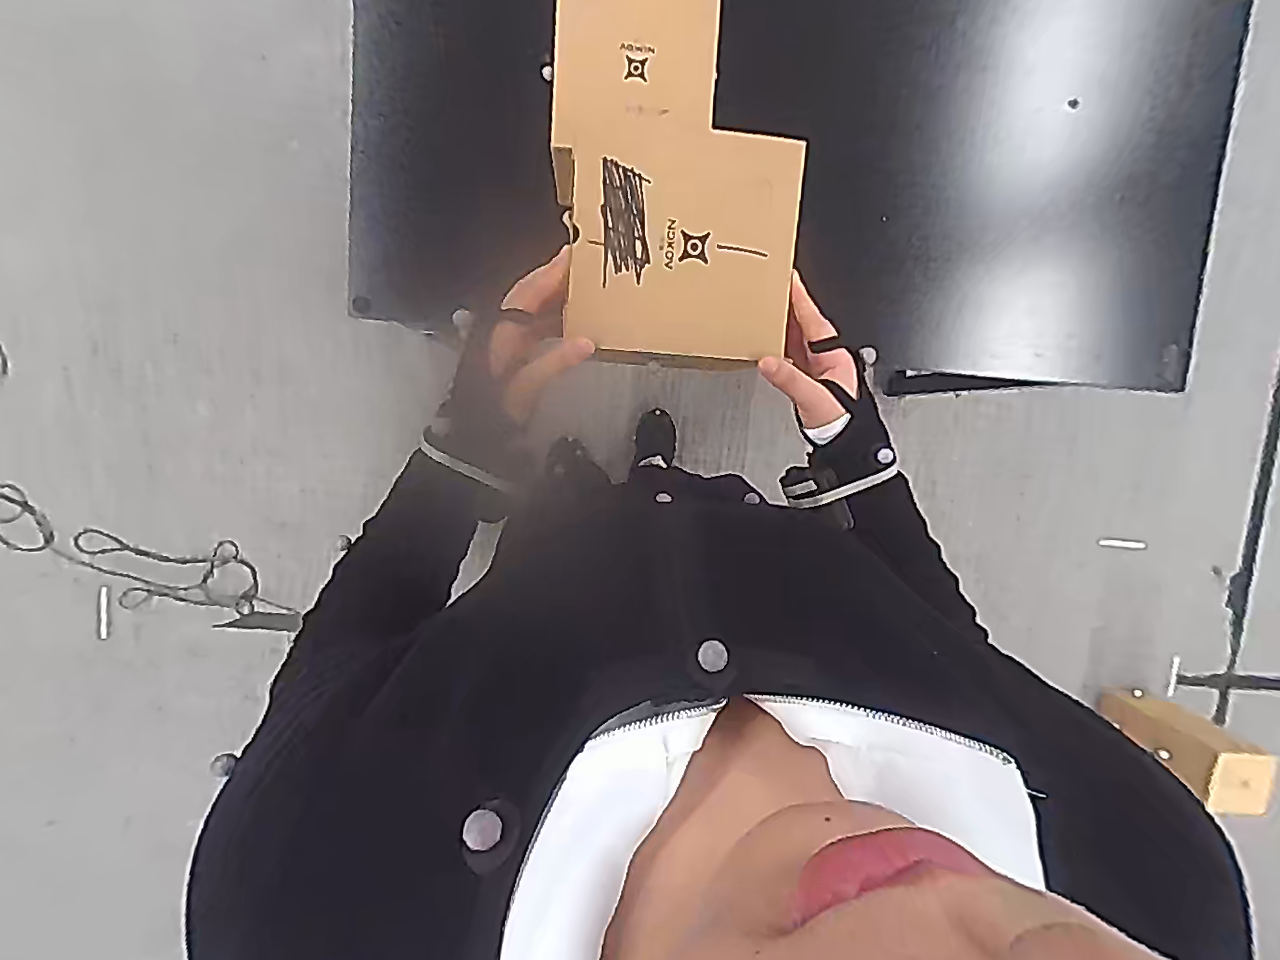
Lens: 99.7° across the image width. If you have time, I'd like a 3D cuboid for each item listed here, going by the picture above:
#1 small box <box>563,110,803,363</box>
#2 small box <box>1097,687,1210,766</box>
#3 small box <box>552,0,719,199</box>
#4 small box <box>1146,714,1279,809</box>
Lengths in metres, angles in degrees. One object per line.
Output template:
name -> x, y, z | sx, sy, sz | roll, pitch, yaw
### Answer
small box -> 0.026, -0.197, 0.489 | 0.179, 0.176, 0.168 | 2, 99, -5
small box -> 1.546, 0.745, 1.638 | 0.179, 0.176, 0.168 | 4, 96, -5
small box -> -0.011, -0.432, 0.627 | 0.168, 0.176, 0.179 | 2, 97, -4
small box -> 1.553, 0.761, 1.473 | 0.179, 0.176, 0.168 | 6, 96, -5
